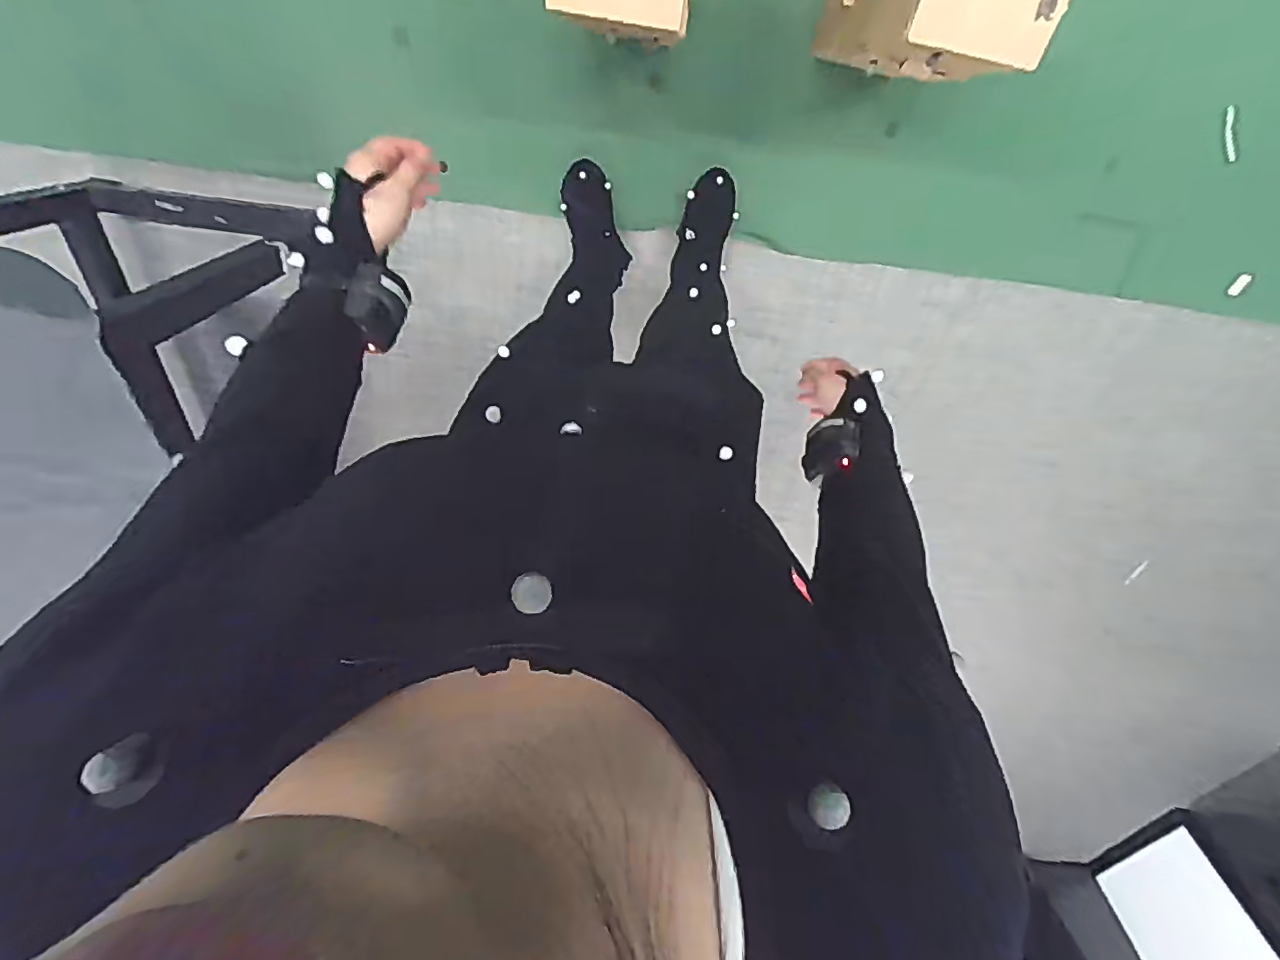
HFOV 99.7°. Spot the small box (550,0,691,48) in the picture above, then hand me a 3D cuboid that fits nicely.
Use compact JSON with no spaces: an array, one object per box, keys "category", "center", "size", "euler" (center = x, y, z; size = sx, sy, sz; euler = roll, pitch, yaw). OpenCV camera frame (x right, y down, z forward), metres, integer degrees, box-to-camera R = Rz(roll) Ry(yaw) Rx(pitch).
[{"category":"small box","center":[-0.015,-0.657,0.662],"size":[0.168,0.176,0.179],"euler":[7,127,-4]}]

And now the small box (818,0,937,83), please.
[{"category":"small box","center":[0.439,-0.816,0.944],"size":[0.179,0.176,0.168],"euler":[9,127,-7]}]

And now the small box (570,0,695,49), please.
[{"category":"small box","center":[-0.006,-0.751,0.798],"size":[0.179,0.176,0.168],"euler":[5,126,-2]}]

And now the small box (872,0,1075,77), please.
[{"category":"small box","center":[0.423,-0.623,0.679],"size":[0.179,0.176,0.168],"euler":[9,126,-5]}]
